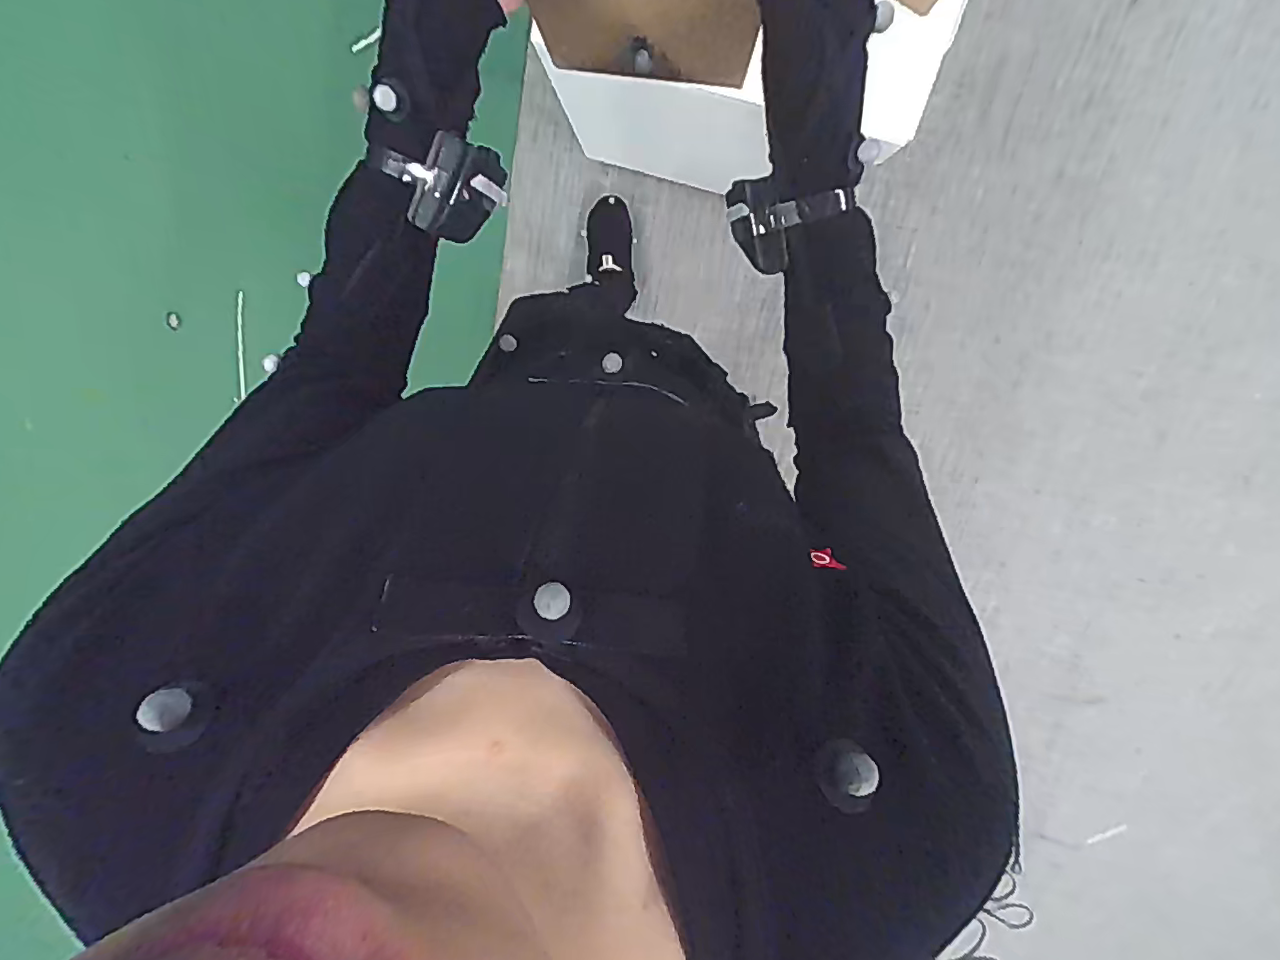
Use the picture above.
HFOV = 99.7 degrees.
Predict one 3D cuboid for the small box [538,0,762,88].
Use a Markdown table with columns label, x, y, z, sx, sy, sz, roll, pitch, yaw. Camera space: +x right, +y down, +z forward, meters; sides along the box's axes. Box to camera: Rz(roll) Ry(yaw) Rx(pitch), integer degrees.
| label | x | y | z | sx | sy | sz | roll | pitch | yaw |
| --- | --- | --- | --- | --- | --- | --- | --- | --- | --- |
| small box | 0.012 | -0.411 | 0.367 | 0.168 | 0.176 | 0.179 | 8 | 104 | 2 |
